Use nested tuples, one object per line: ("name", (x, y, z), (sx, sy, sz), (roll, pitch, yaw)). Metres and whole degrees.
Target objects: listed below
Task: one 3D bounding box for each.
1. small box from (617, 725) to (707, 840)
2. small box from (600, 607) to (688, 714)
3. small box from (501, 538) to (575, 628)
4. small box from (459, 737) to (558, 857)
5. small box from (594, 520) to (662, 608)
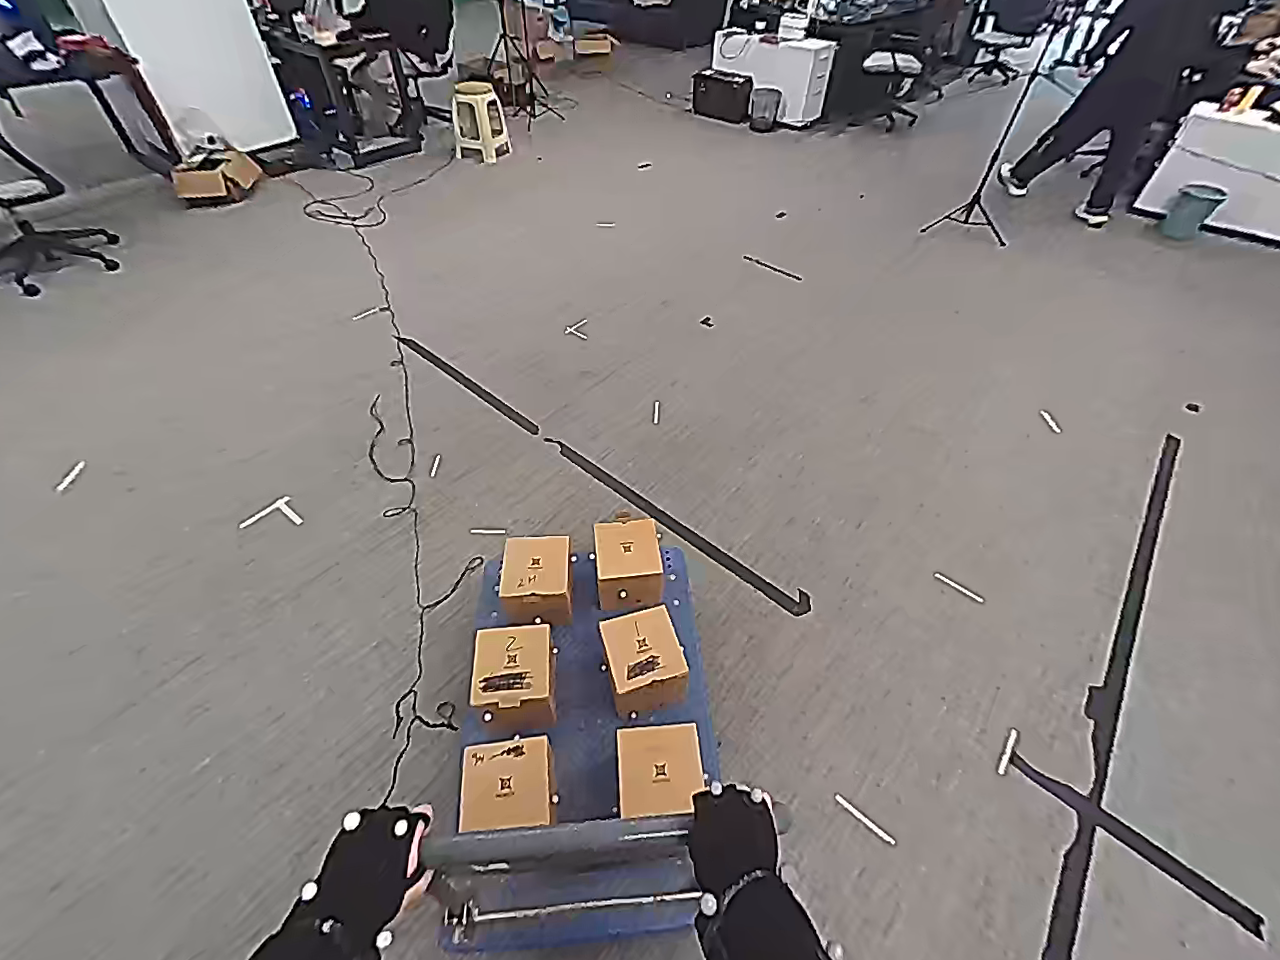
("small box", (0.040, 0.626, 1.112), (0.168, 0.176, 0.179), (-2, 48, -4))
("small box", (0.006, 0.434, 1.282), (0.168, 0.176, 0.179), (-12, 49, -12))
("small box", (-0.261, 0.270, 1.421), (0.168, 0.176, 0.179), (-2, 49, -3))
("small box", (-0.257, 0.641, 1.087), (0.168, 0.176, 0.179), (-5, 49, -7))
("small box", (-0.033, 0.233, 1.463), (0.168, 0.176, 0.179), (-5, 48, -6))
